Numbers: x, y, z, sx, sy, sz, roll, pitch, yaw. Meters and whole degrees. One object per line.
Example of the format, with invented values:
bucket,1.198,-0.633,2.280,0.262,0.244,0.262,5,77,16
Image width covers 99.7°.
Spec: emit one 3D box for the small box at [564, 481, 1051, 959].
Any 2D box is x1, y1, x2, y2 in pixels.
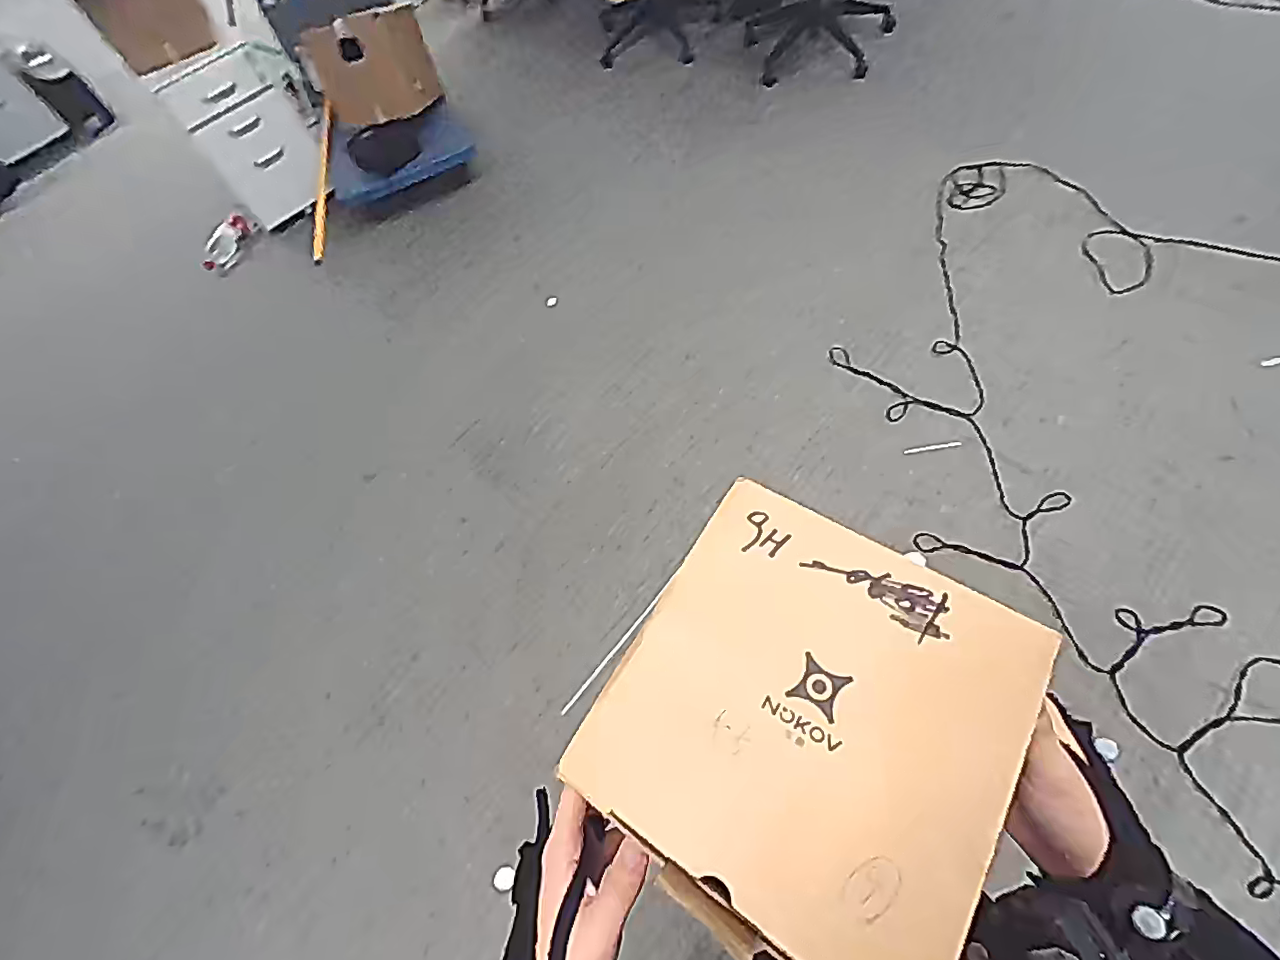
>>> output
small box,0.087,0.138,0.321,0.168,0.176,0.179,29,71,19
